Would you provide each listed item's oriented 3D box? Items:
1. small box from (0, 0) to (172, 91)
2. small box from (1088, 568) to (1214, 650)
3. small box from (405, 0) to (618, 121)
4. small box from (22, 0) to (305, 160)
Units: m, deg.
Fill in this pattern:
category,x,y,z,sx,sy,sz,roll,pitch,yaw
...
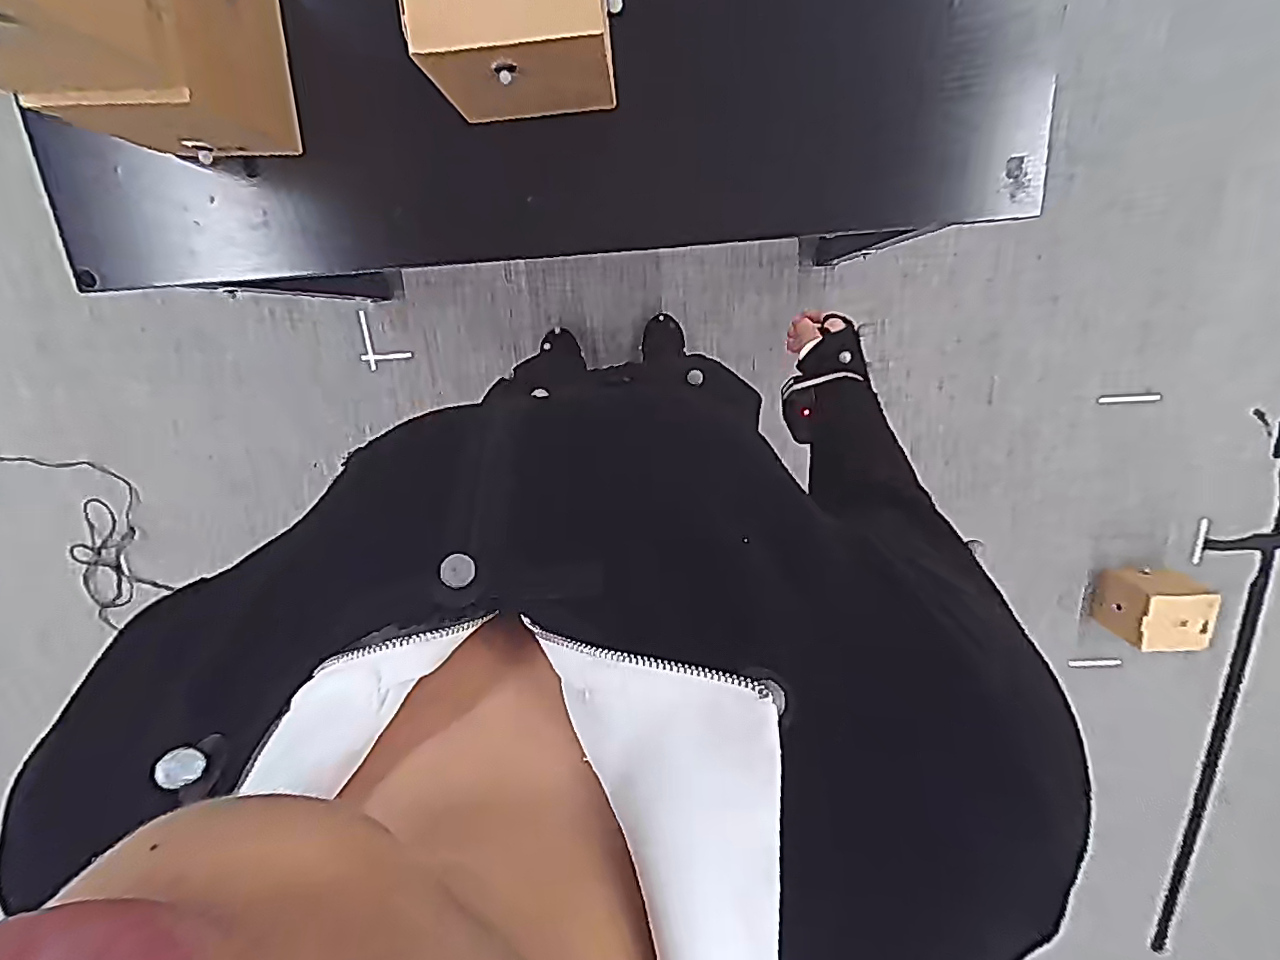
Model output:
category,x,y,z,sx,sy,sz,roll,pitch,yaw
small box,-0.492,-0.410,0.391,0.179,0.176,0.168,0,105,2
small box,1.397,0.351,1.493,0.179,0.176,0.168,-1,106,3
small box,-0.120,-0.479,0.532,0.179,0.176,0.168,-4,106,2
small box,-0.482,-0.449,0.551,0.168,0.176,0.179,0,107,2
